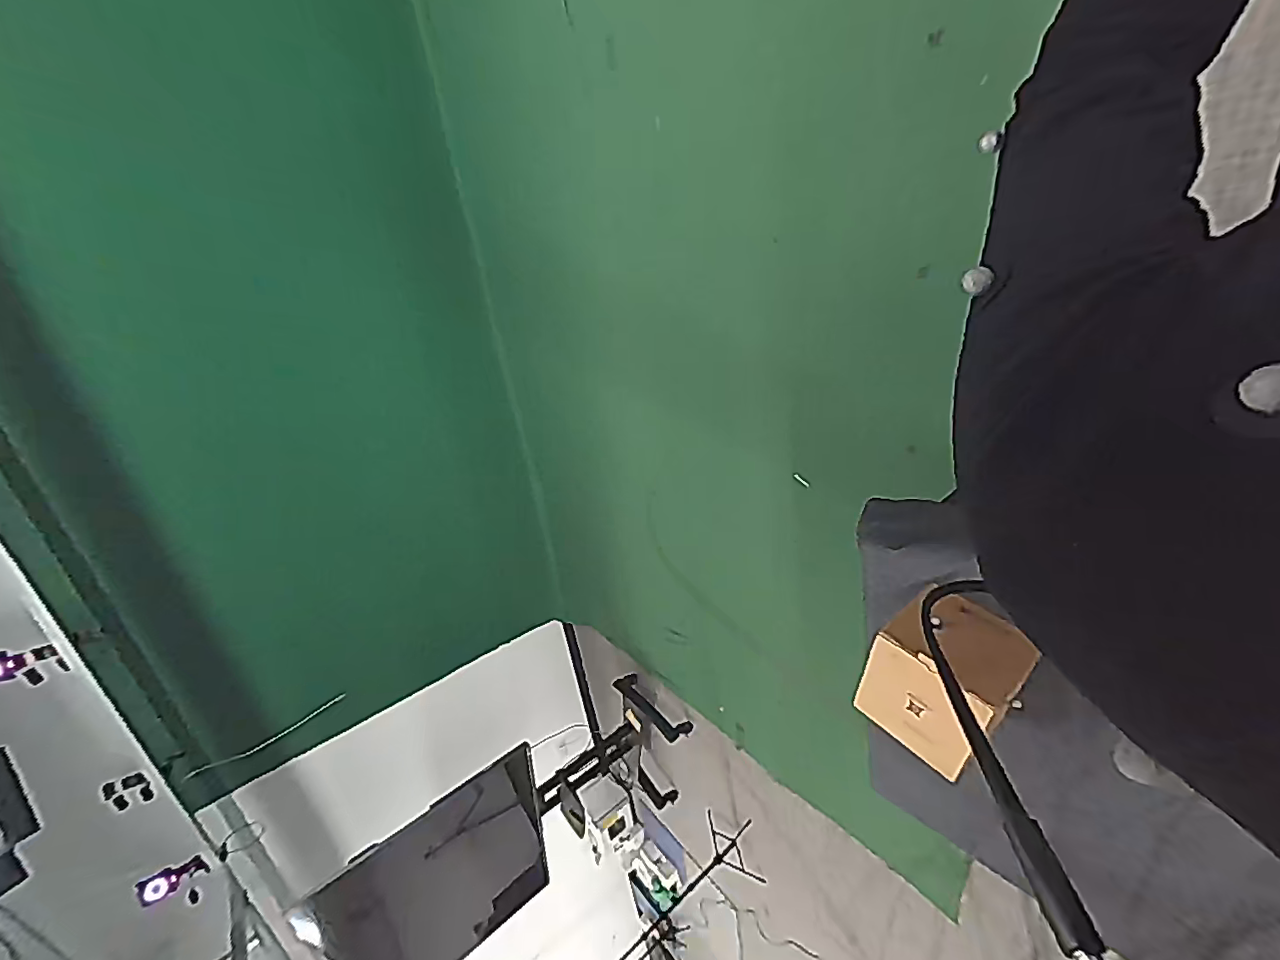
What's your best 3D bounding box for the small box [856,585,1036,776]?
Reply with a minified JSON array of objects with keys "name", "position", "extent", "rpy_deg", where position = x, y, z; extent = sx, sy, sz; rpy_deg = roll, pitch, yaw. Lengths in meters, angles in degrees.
[{"name":"small box","position":[0.463,0.294,0.825],"extent":[0.168,0.176,0.179],"rpy_deg":[34,138,42]}]
